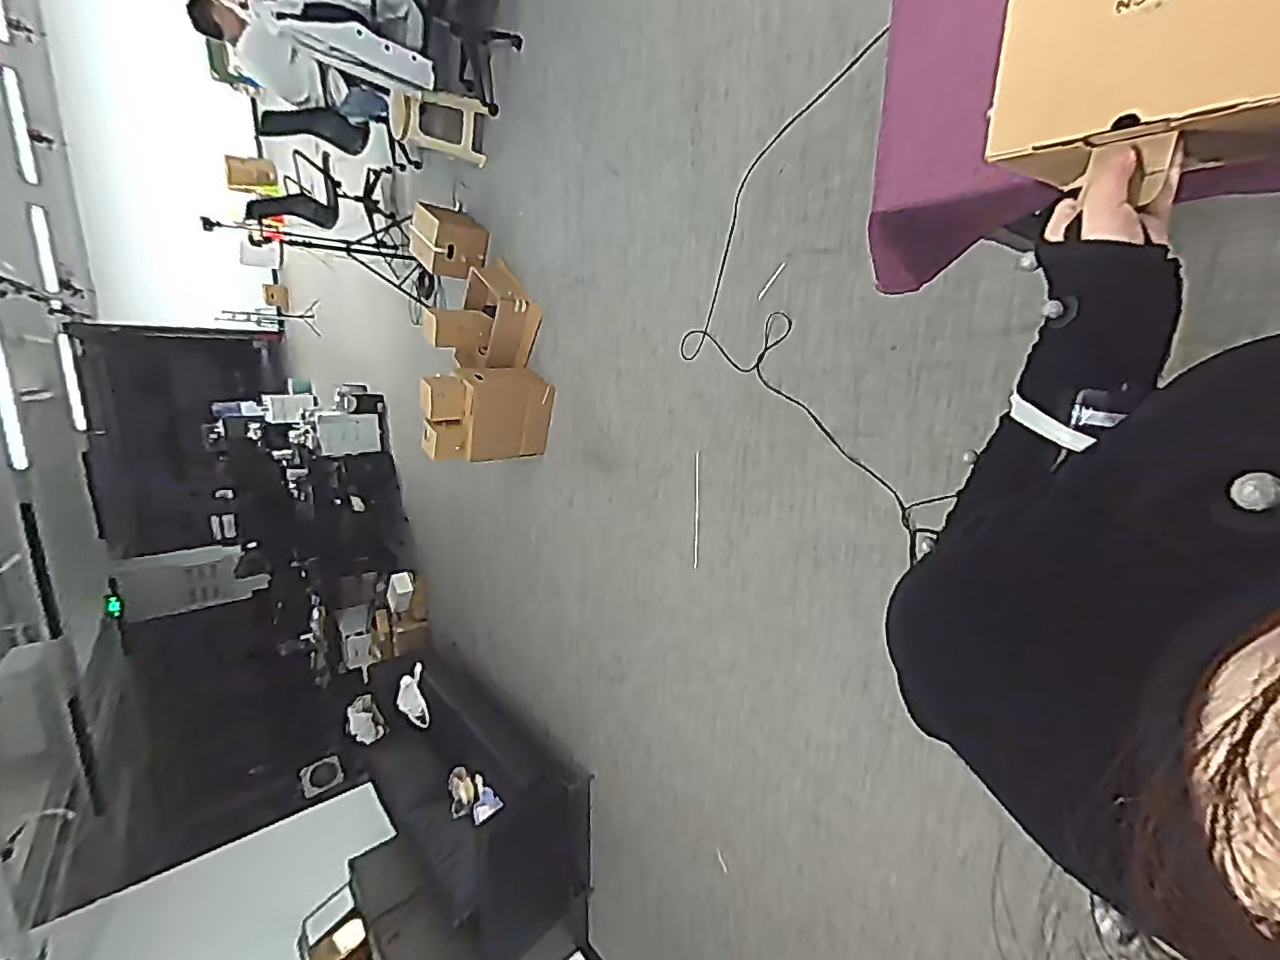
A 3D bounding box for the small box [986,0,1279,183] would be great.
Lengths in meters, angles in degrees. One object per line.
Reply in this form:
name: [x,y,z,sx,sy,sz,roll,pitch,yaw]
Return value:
small box: [0.384,-0.332,0.386,0.168,0.176,0.179,20,118,50]
